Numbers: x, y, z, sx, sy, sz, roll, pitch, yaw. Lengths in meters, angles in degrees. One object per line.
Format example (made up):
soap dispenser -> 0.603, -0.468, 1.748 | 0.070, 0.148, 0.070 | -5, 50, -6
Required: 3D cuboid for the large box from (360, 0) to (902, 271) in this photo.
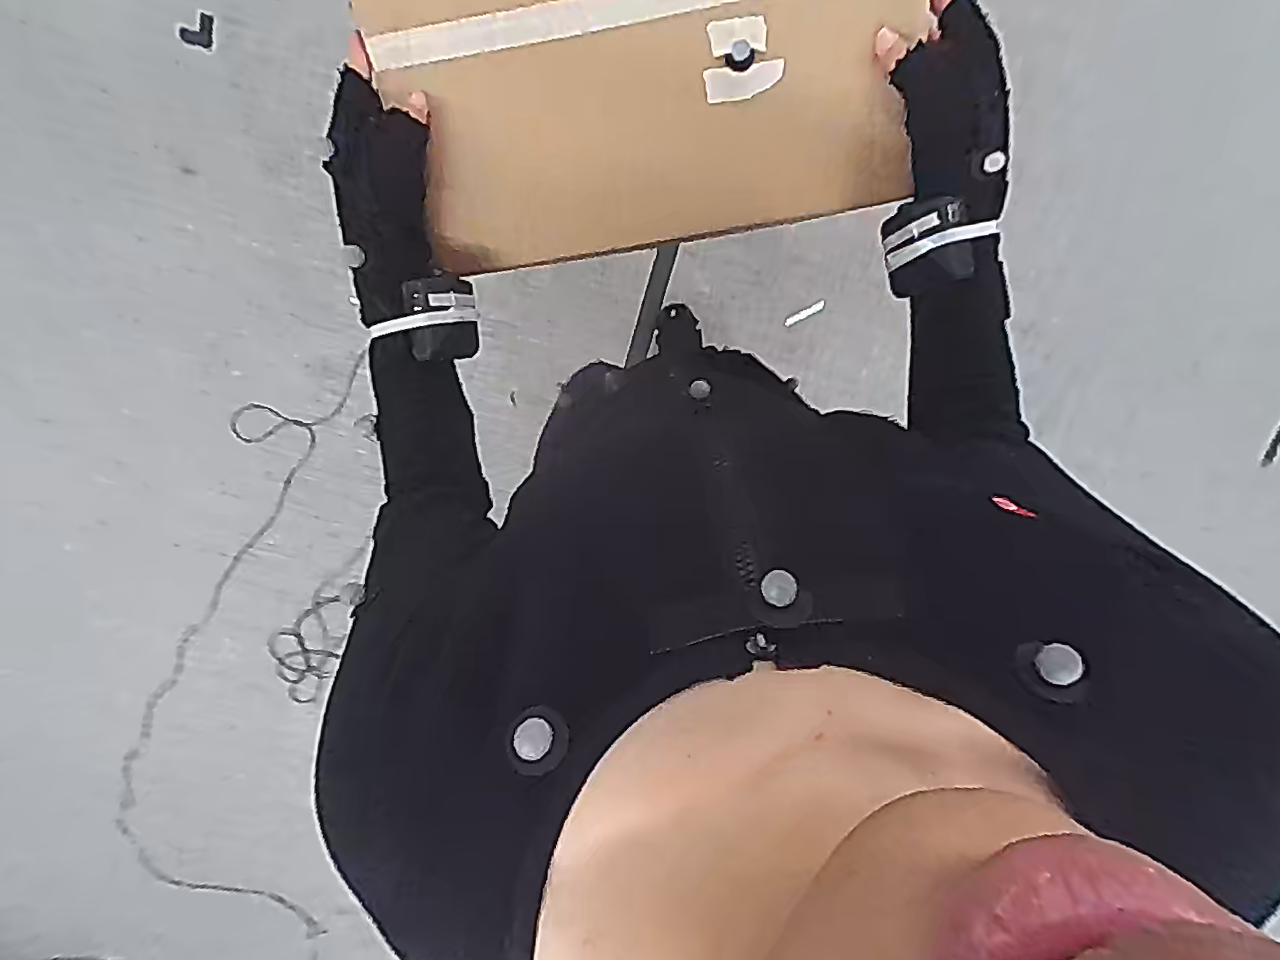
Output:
large box -> -0.010, -0.408, 0.541 | 0.408, 0.320, 0.320 | -10, 112, 2
